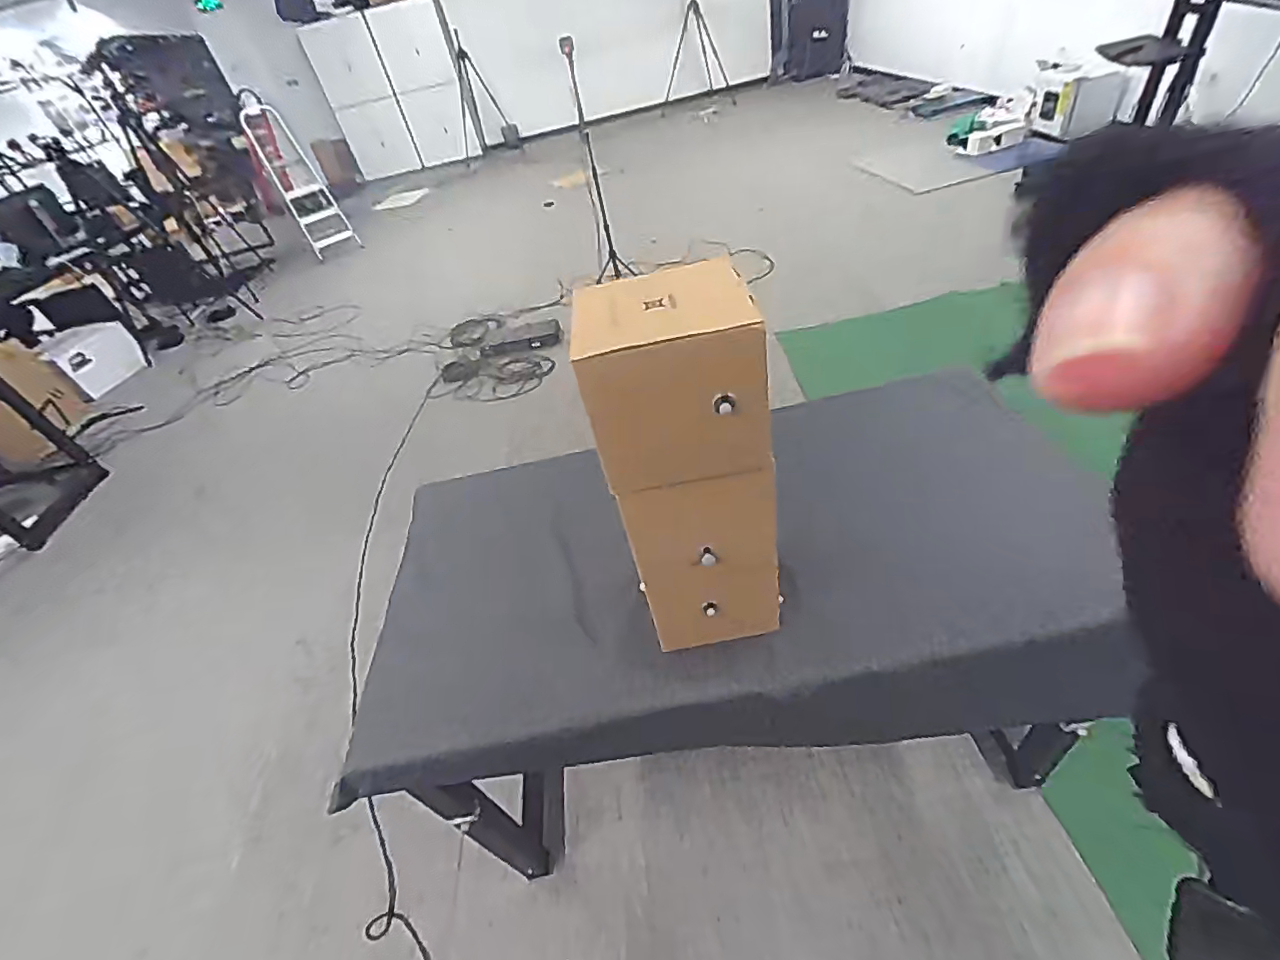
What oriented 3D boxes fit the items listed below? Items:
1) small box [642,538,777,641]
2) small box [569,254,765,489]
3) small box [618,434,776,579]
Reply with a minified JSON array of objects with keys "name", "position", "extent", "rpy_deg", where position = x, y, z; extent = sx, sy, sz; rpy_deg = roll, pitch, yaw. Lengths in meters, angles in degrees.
[{"name":"small box","position":[0.097,0.116,0.804],"extent":[0.179,0.176,0.168],"rpy_deg":[-13,41,4]},{"name":"small box","position":[0.032,-0.115,0.583],"extent":[0.179,0.176,0.168],"rpy_deg":[-12,40,5]},{"name":"small box","position":[0.066,0.002,0.695],"extent":[0.179,0.176,0.168],"rpy_deg":[-14,43,2]}]
